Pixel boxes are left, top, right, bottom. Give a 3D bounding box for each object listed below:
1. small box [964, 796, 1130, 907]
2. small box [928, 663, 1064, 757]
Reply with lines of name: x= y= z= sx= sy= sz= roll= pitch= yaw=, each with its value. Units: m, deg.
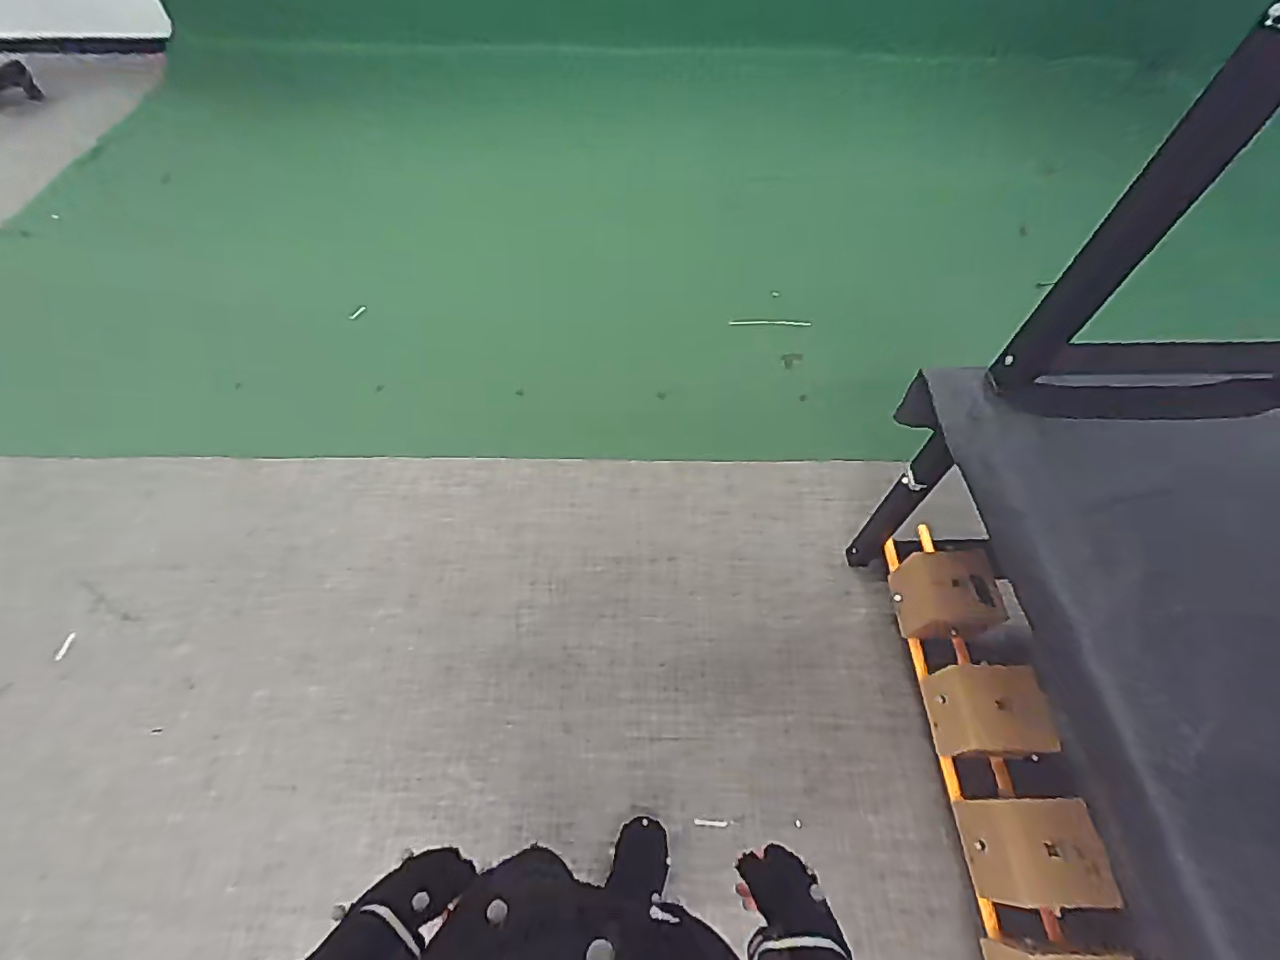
small box: x=0.758 y=0.709 z=1.039 sx=0.179 sy=0.176 sz=0.168 roll=-1 pitch=57 yaw=0
small box: x=0.752 y=0.503 z=1.173 sx=0.179 sy=0.176 sz=0.168 roll=0 pitch=58 yaw=1
